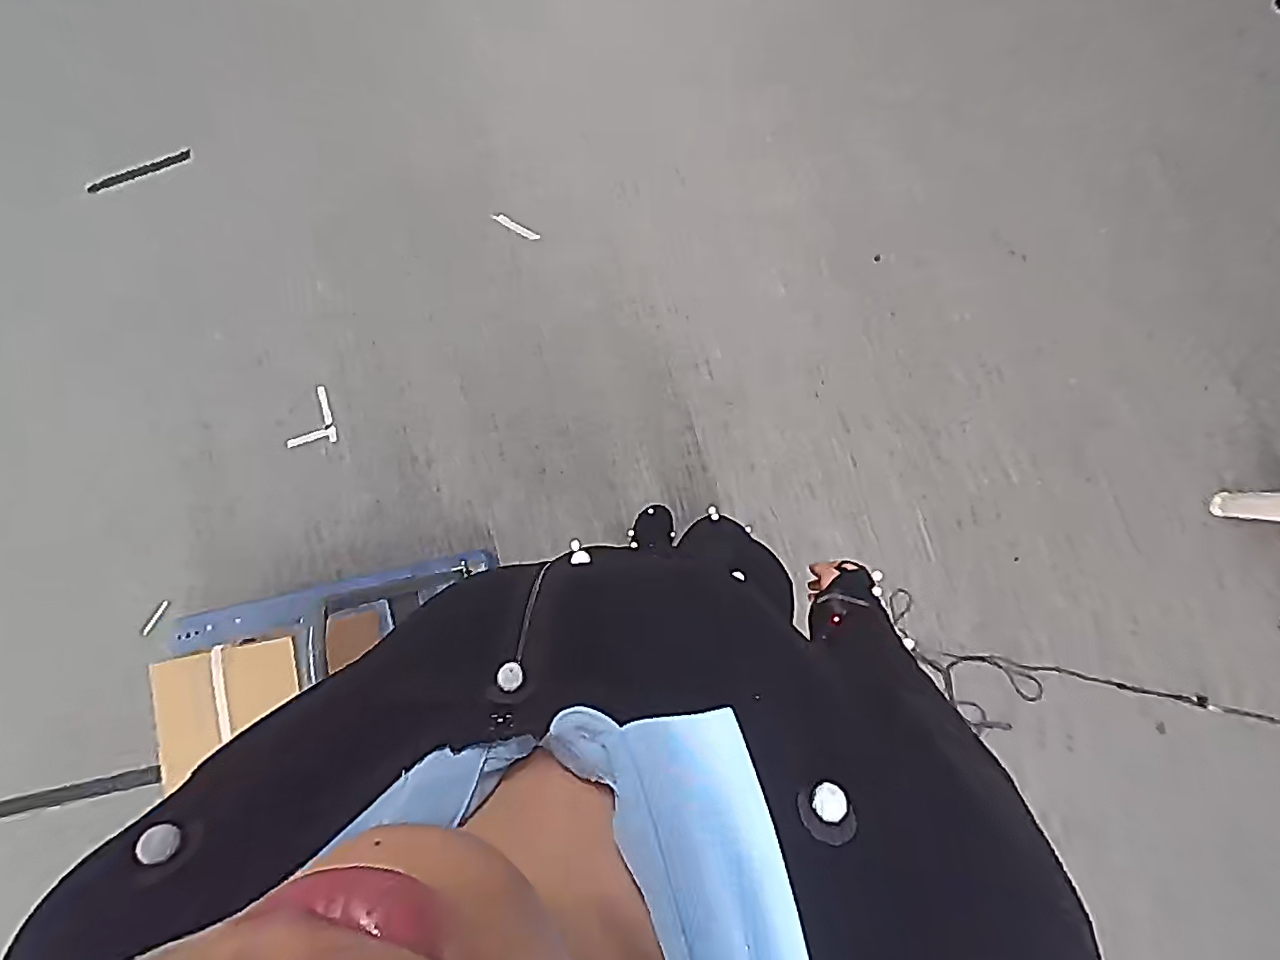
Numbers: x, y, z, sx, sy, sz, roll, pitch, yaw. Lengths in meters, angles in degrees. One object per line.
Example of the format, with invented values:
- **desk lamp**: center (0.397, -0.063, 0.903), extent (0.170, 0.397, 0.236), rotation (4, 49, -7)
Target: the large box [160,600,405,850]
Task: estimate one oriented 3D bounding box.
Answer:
- **large box**: center (-0.782, 0.522, 1.228), extent (0.320, 0.320, 0.408), rotation (-11, 86, 5)
